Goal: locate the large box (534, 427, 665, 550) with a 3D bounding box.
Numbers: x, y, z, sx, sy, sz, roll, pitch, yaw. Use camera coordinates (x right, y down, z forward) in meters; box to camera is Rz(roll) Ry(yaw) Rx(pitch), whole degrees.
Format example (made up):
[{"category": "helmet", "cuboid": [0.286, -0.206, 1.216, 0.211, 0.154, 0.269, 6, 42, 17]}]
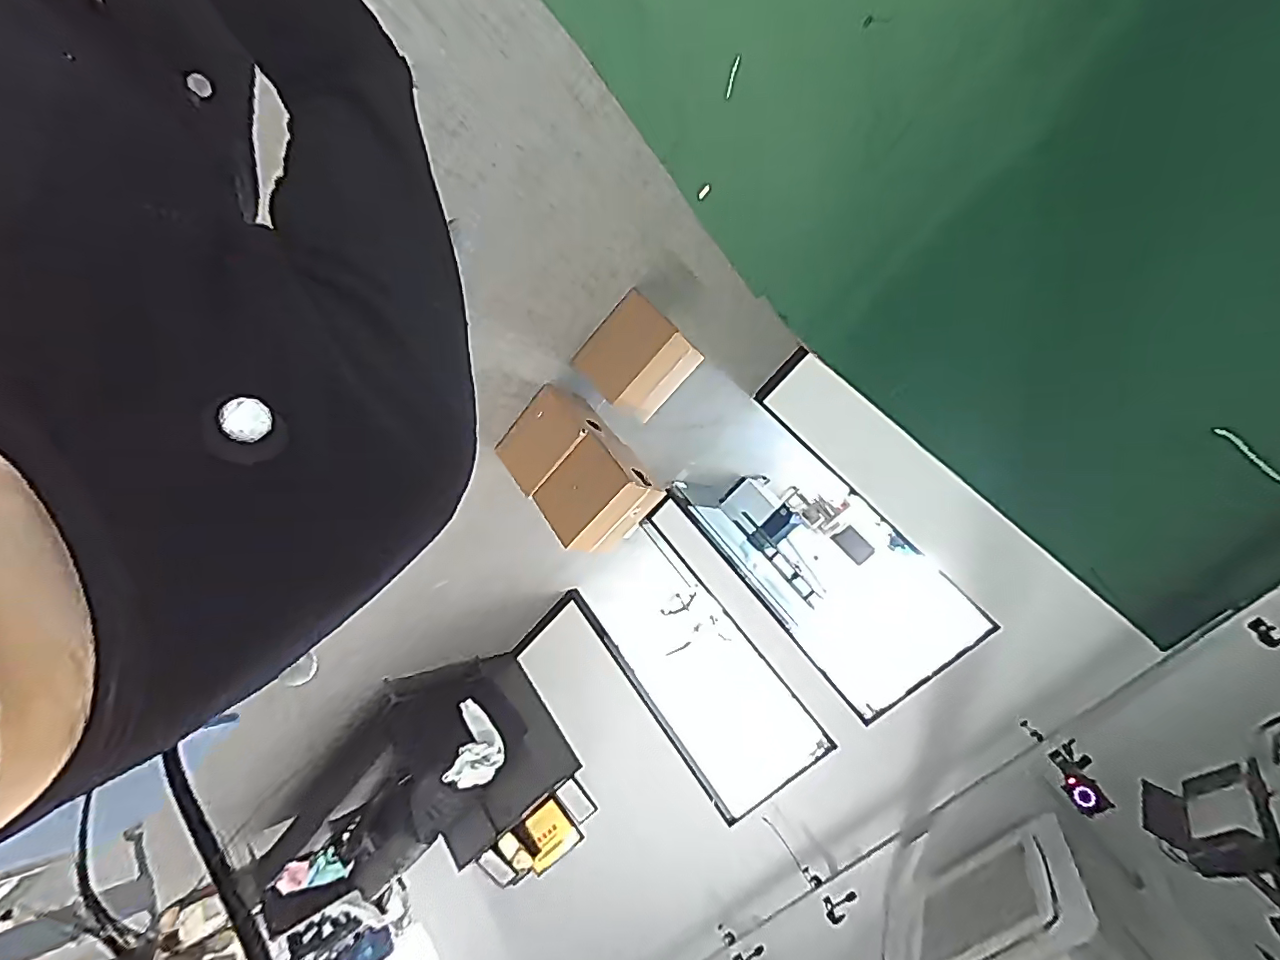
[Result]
[{"category": "large box", "cuboid": [-0.179, 0.047, 2.329, 0.408, 0.320, 0.320, -47, 151, 15]}]
